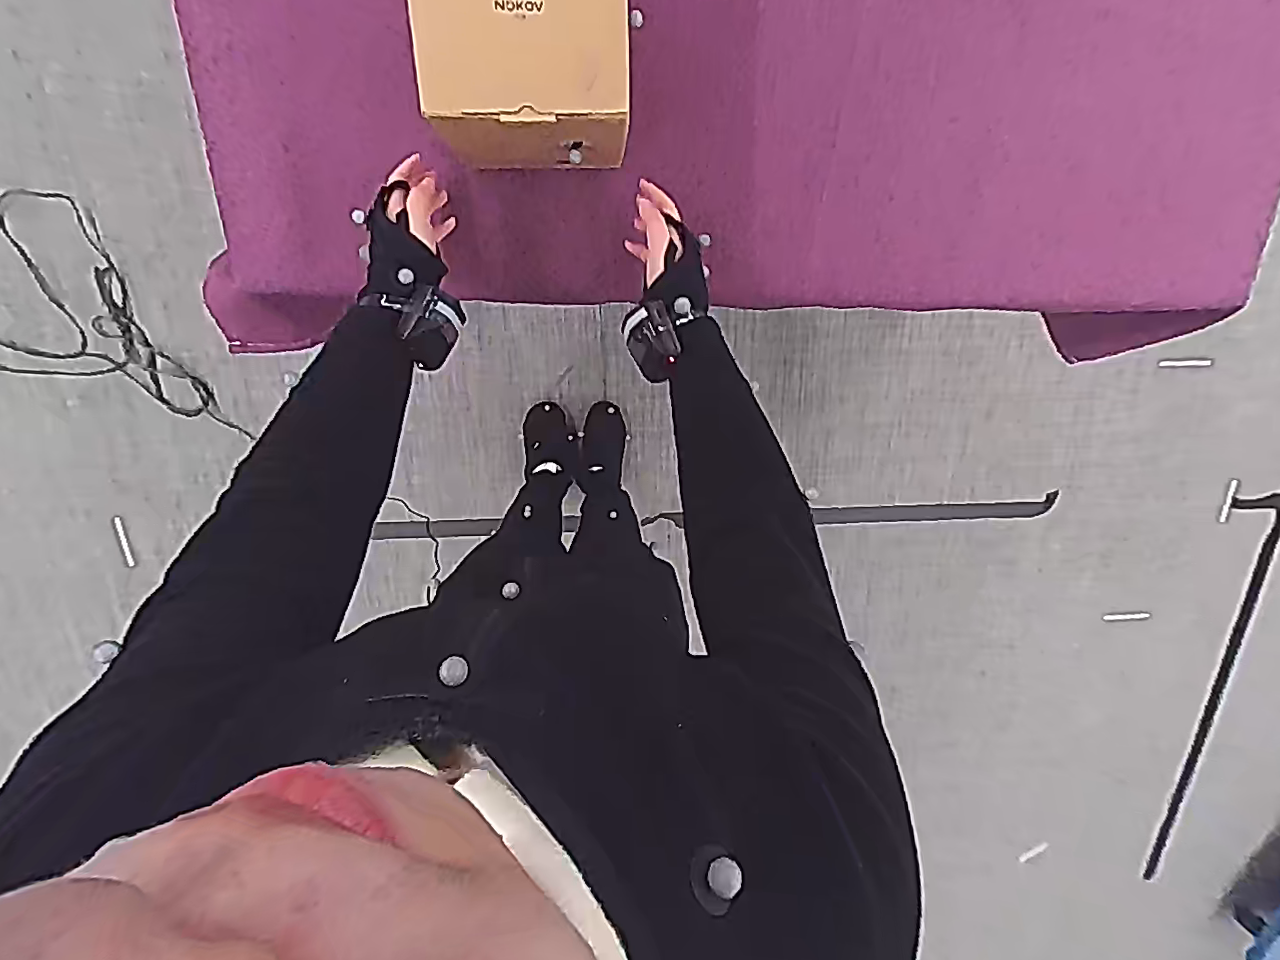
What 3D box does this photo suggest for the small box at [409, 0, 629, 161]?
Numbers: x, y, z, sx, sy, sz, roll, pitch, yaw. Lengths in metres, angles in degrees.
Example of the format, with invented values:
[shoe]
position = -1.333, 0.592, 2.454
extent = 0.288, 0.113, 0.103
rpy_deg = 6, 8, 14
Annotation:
[small box]
position = -0.095, -0.396, 0.476
extent = 0.168, 0.176, 0.179
rpy_deg = -2, 108, -5
